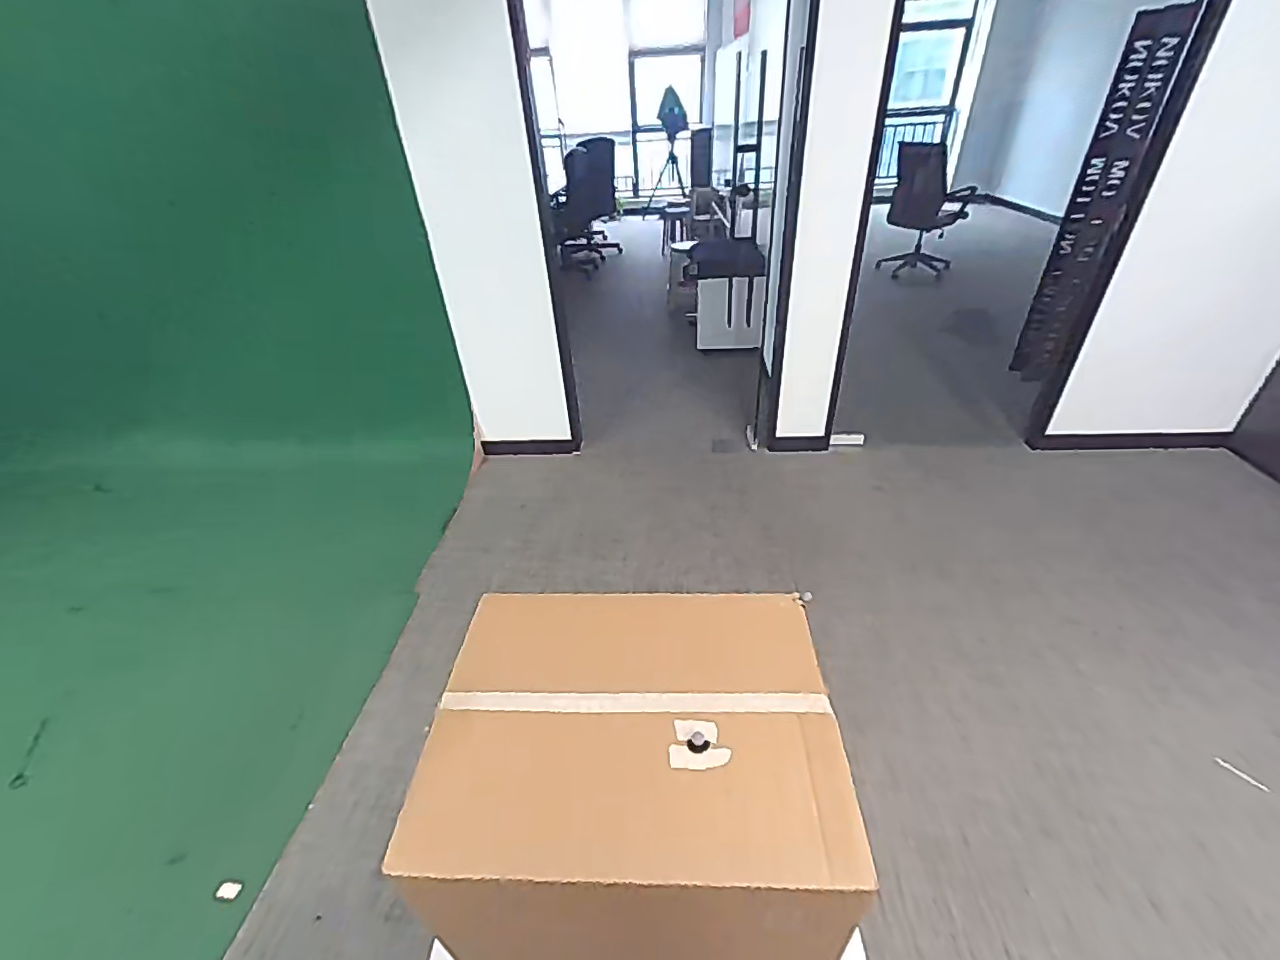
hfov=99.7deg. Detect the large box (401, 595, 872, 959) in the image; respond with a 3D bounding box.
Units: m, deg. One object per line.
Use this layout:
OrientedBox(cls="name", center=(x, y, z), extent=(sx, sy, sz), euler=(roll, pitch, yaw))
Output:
OrientedBox(cls="large box", center=(0.000, 0.358, 0.653), extent=(0.408, 0.320, 0.320), euler=(0, 35, 3))
